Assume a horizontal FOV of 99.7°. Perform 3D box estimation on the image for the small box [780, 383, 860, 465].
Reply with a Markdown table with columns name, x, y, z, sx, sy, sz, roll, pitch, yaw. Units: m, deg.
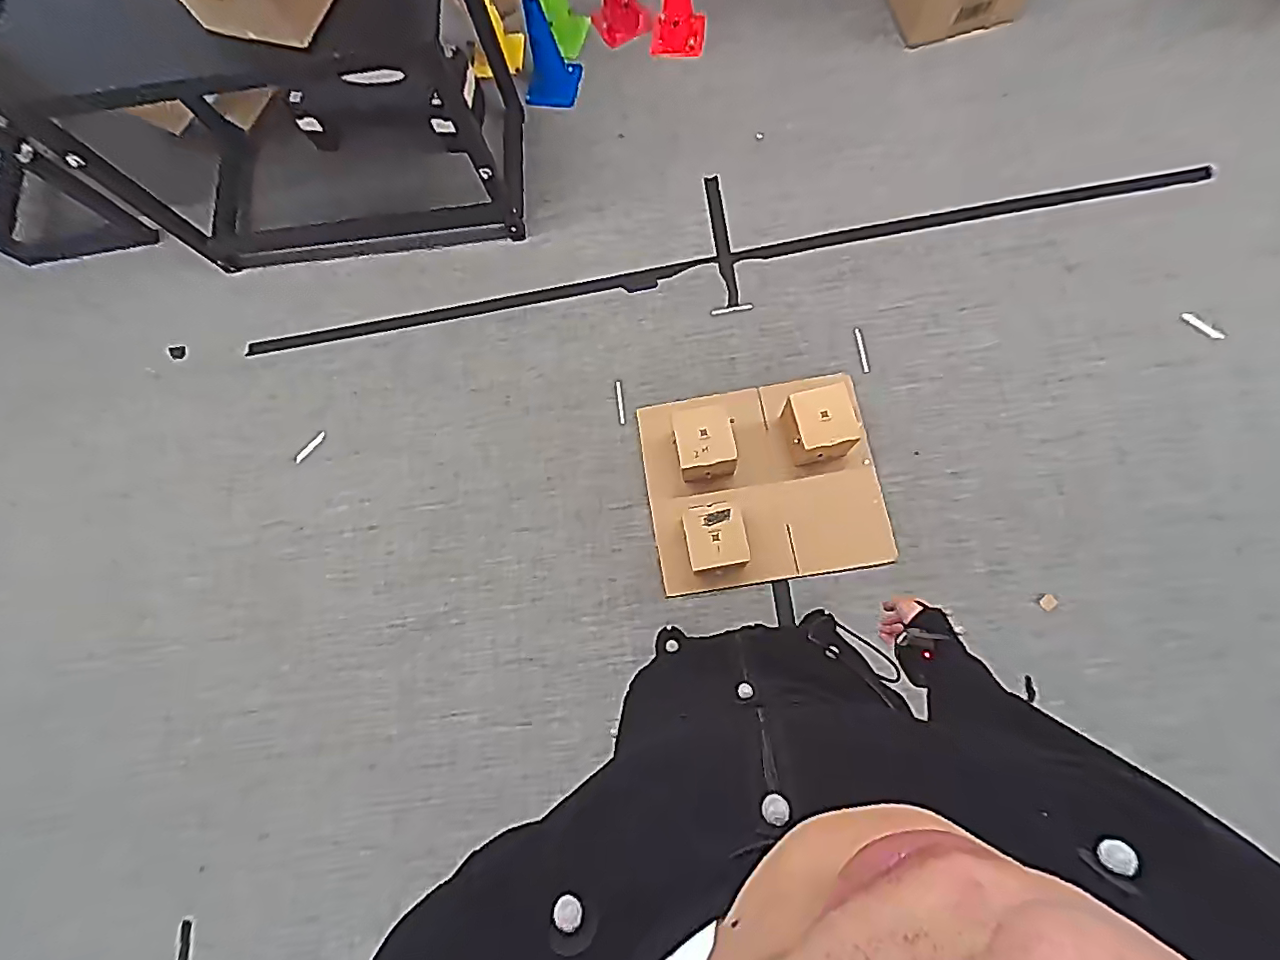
| name | x | y | z | sx | sy | sz | roll | pitch | yaw |
| --- | --- | --- | --- | --- | --- | --- | --- | --- | --- |
| small box | 0.527 | -0.162 | 1.615 | 0.168 | 0.176 | 0.179 | -14 | 76 | 3 |

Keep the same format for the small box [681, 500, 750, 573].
| name | x | y | z | sx | sy | sz | roll | pitch | yaw |
| --- | --- | --- | --- | --- | --- | --- | --- | --- | --- |
| small box | 0.213 | 0.169 | 1.565 | 0.168 | 0.176 | 0.179 | -11 | 78 | 4 |

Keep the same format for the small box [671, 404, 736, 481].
| name | x | y | z | sx | sy | sz | roll | pitch | yaw |
| --- | --- | --- | --- | --- | --- | --- | --- | --- | --- |
| small box | 0.188 | -0.108 | 1.630 | 0.168 | 0.176 | 0.179 | -10 | 77 | 4 |
